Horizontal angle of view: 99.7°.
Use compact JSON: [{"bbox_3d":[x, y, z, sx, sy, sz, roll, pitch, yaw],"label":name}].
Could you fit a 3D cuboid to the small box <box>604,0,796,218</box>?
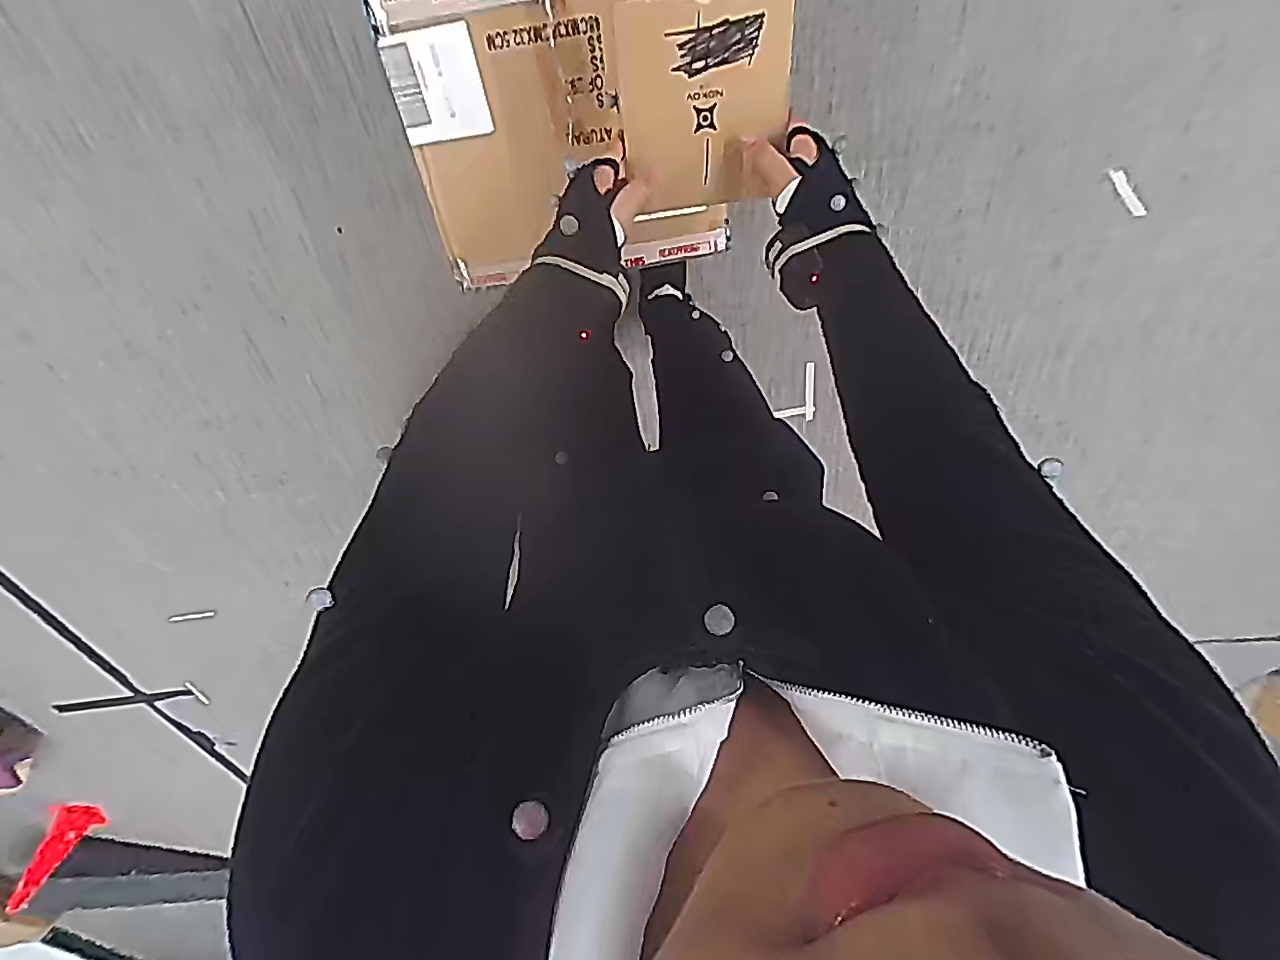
[{"bbox_3d":[0.056,-0.403,0.584,0.168,0.176,0.179,-9,128,-2],"label":"small box"}]
